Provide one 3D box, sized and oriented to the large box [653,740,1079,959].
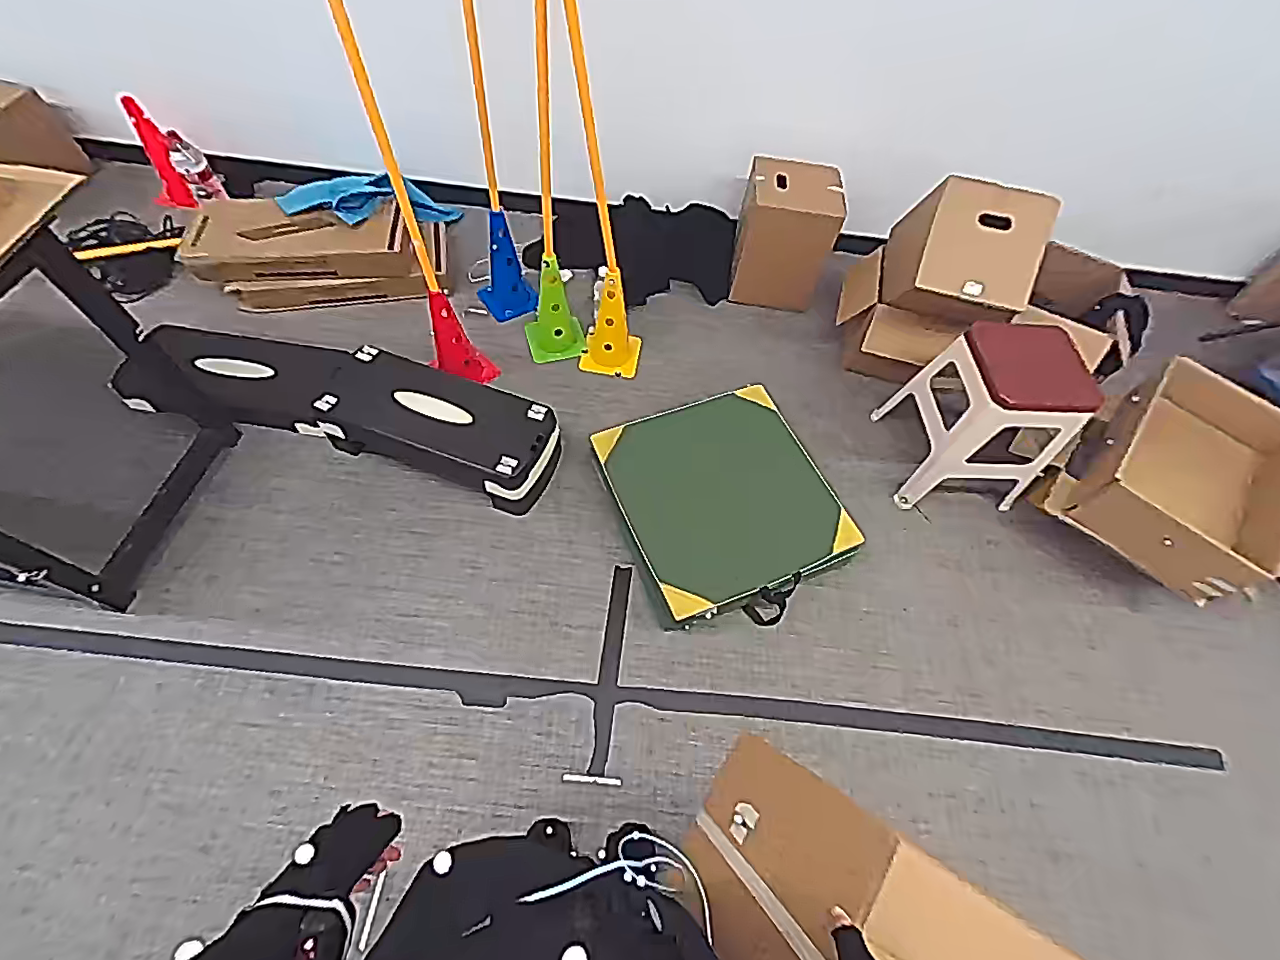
[{"bbox_3d":[0.266,0.627,0.747,0.320,0.408,0.320,34,74,-5],"label":"large box"}]
